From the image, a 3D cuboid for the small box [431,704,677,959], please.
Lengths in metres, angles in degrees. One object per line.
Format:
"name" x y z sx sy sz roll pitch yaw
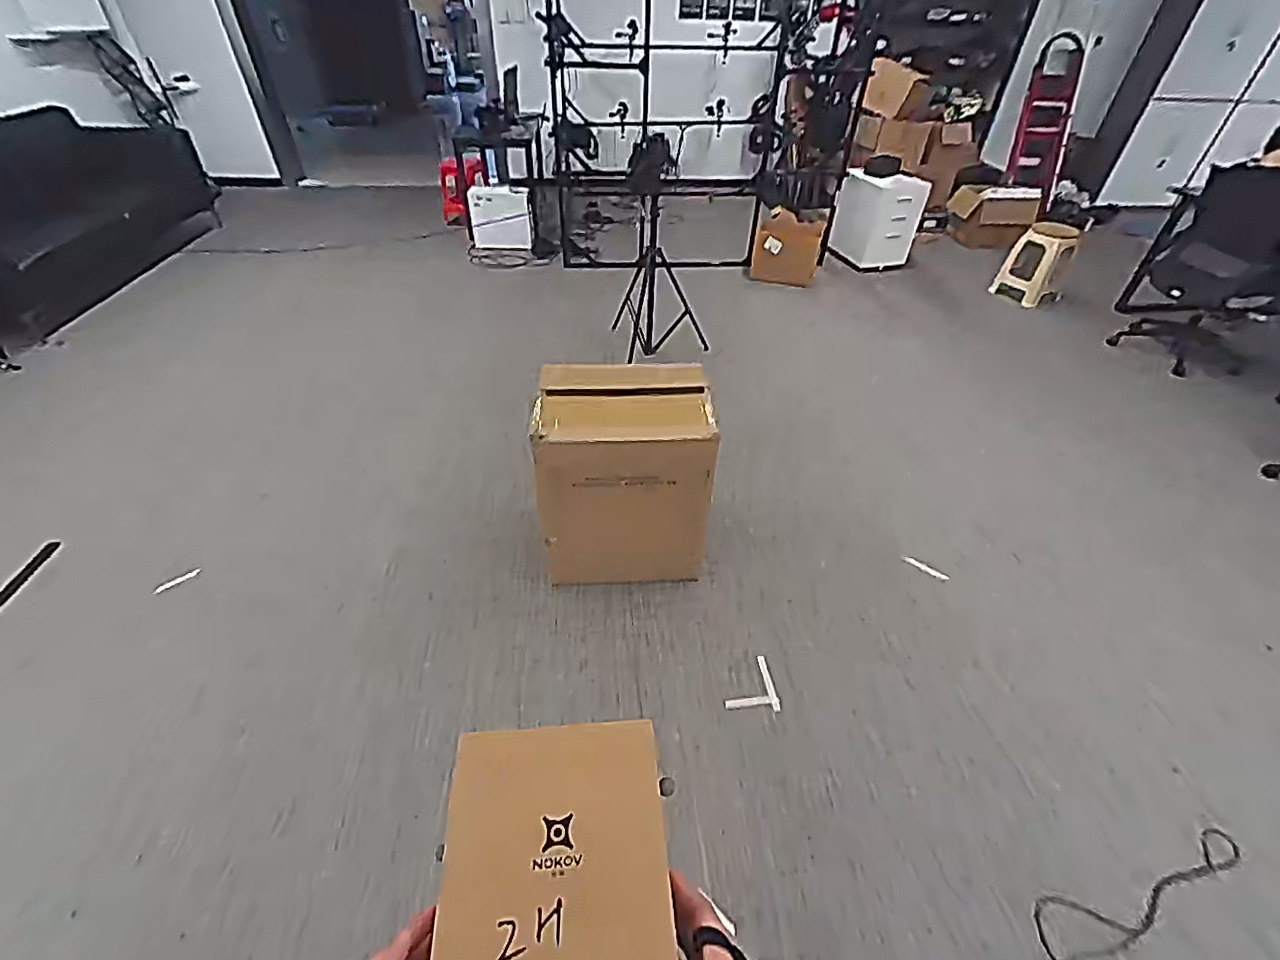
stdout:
"small box" -0.067 0.318 0.469 0.168 0.176 0.179 -2 46 -6
